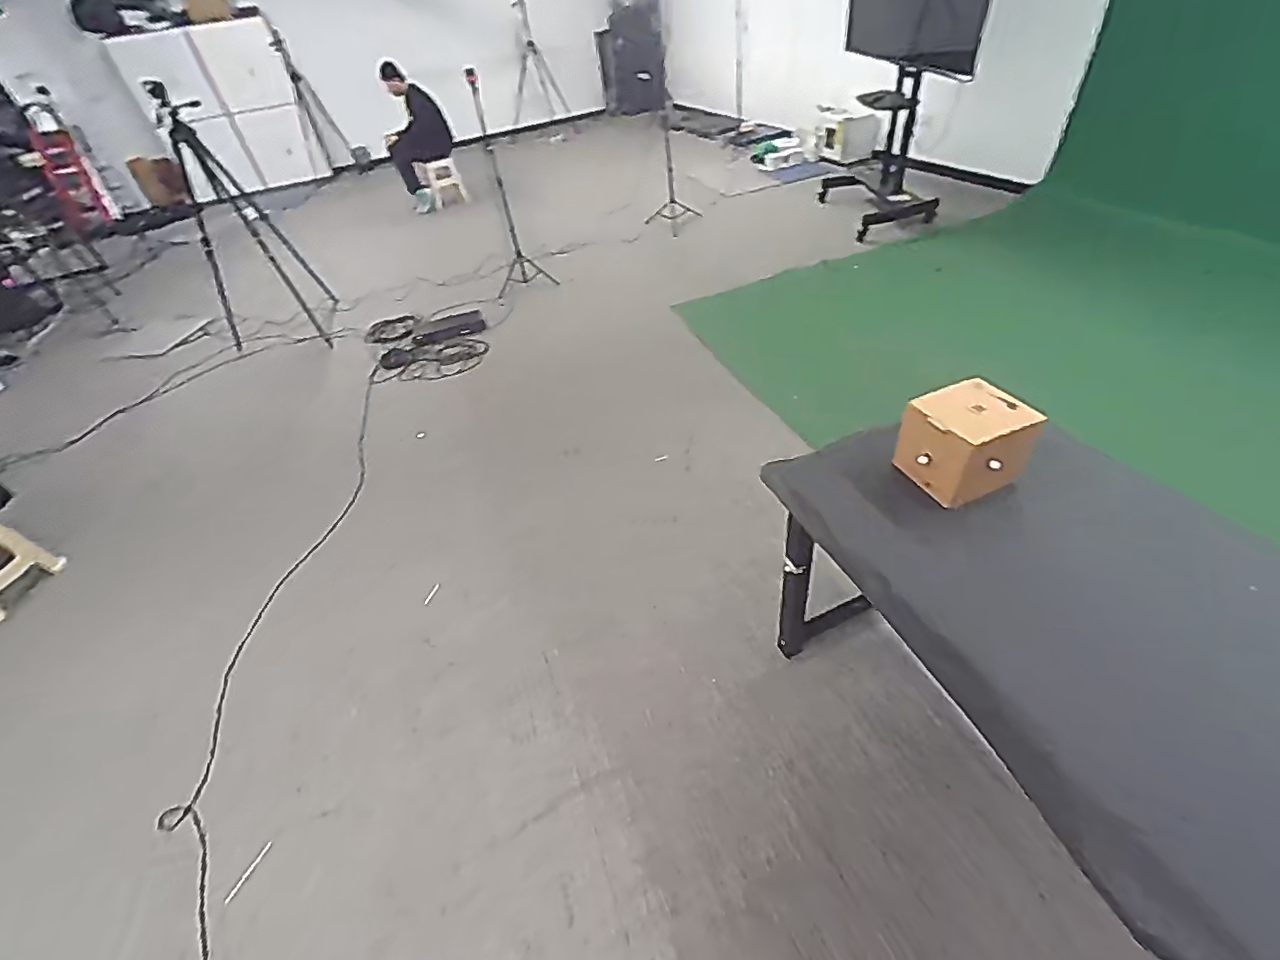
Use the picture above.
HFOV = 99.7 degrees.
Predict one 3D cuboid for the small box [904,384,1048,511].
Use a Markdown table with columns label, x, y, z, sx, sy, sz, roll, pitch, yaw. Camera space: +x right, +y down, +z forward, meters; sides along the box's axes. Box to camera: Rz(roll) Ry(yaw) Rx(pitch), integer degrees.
| label | x | y | z | sx | sy | sz | roll | pitch | yaw |
| --- | --- | --- | --- | --- | --- | --- | --- | --- | --- |
| small box | 0.667 | -0.064 | 1.101 | 0.179 | 0.176 | 0.168 | -19 | 43 | -10 |
